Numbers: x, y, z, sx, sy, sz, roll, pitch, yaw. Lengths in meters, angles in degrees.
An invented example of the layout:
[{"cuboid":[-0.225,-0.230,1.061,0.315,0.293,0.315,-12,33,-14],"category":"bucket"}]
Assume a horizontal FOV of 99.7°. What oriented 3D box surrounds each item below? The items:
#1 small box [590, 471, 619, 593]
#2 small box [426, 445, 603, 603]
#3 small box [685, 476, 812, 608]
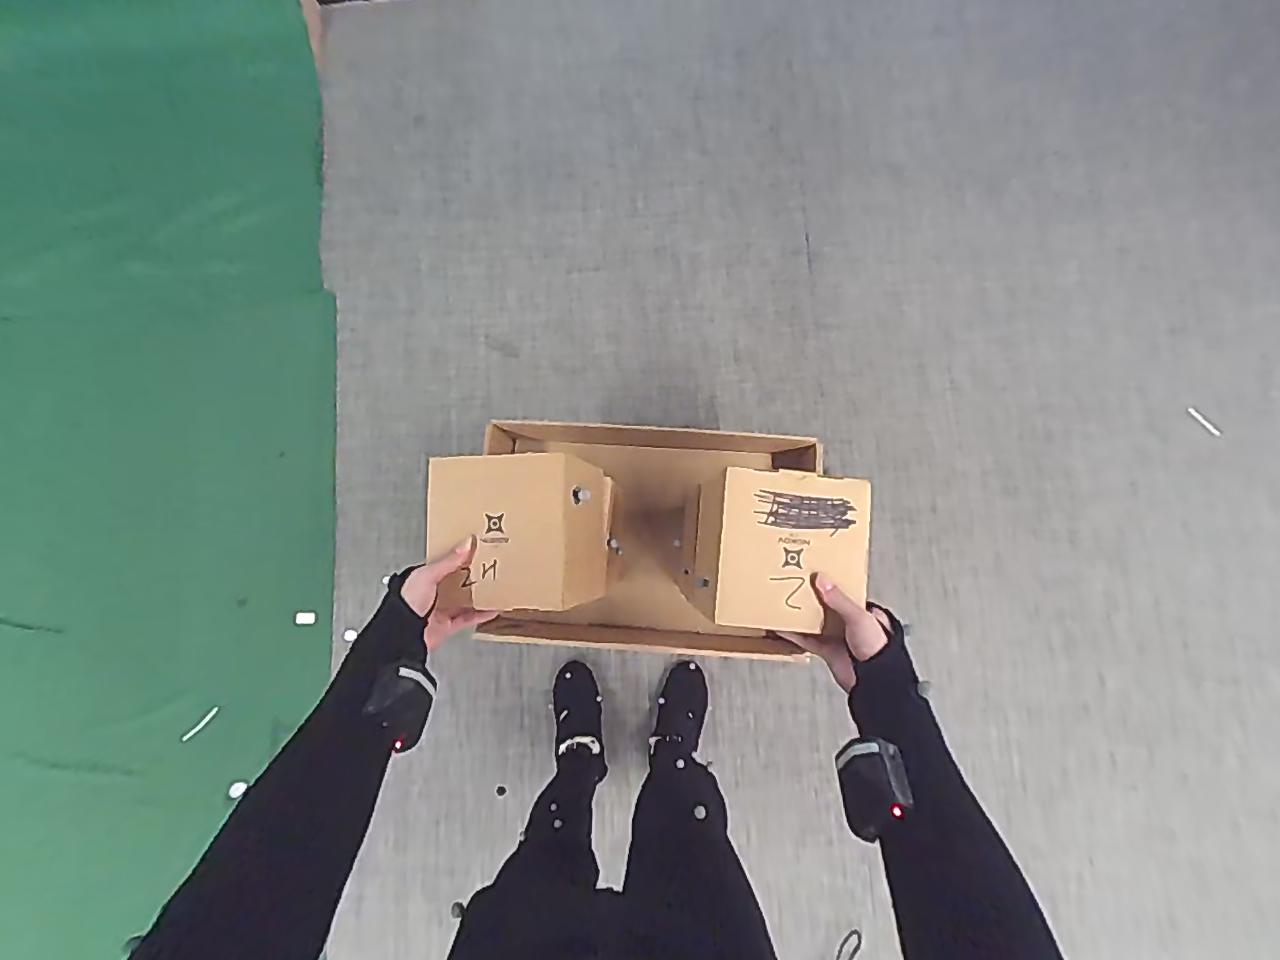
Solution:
[{"cuboid":[-0.125,0.078,0.859,0.168,0.176,0.179,4,84,4],"category":"small box"},{"cuboid":[-0.148,0.058,0.686,0.168,0.176,0.179,-3,84,12],"category":"small box"},{"cuboid":[0.159,0.096,0.840,0.168,0.176,0.179,4,82,2],"category":"small box"}]
